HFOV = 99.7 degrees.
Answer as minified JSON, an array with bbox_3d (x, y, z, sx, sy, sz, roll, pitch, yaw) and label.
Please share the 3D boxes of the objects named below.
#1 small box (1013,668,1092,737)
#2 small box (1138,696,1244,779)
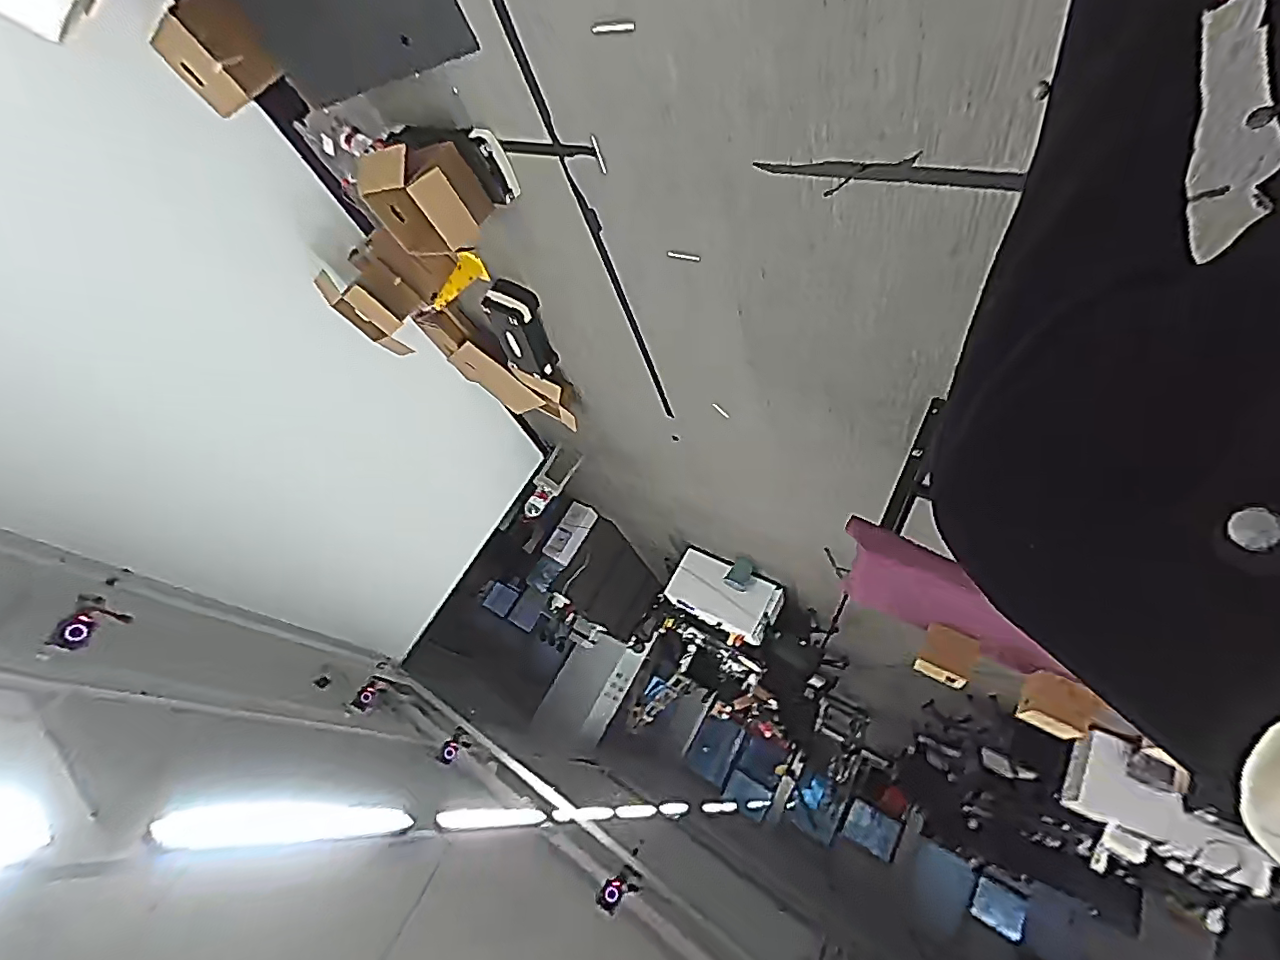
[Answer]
[{"bbox_3d":[1.512,0.816,1.982,0.168,0.176,0.179,24,160,26],"label":"small box"},{"bbox_3d":[1.652,0.769,1.623,0.168,0.176,0.179,22,162,30],"label":"small box"}]
